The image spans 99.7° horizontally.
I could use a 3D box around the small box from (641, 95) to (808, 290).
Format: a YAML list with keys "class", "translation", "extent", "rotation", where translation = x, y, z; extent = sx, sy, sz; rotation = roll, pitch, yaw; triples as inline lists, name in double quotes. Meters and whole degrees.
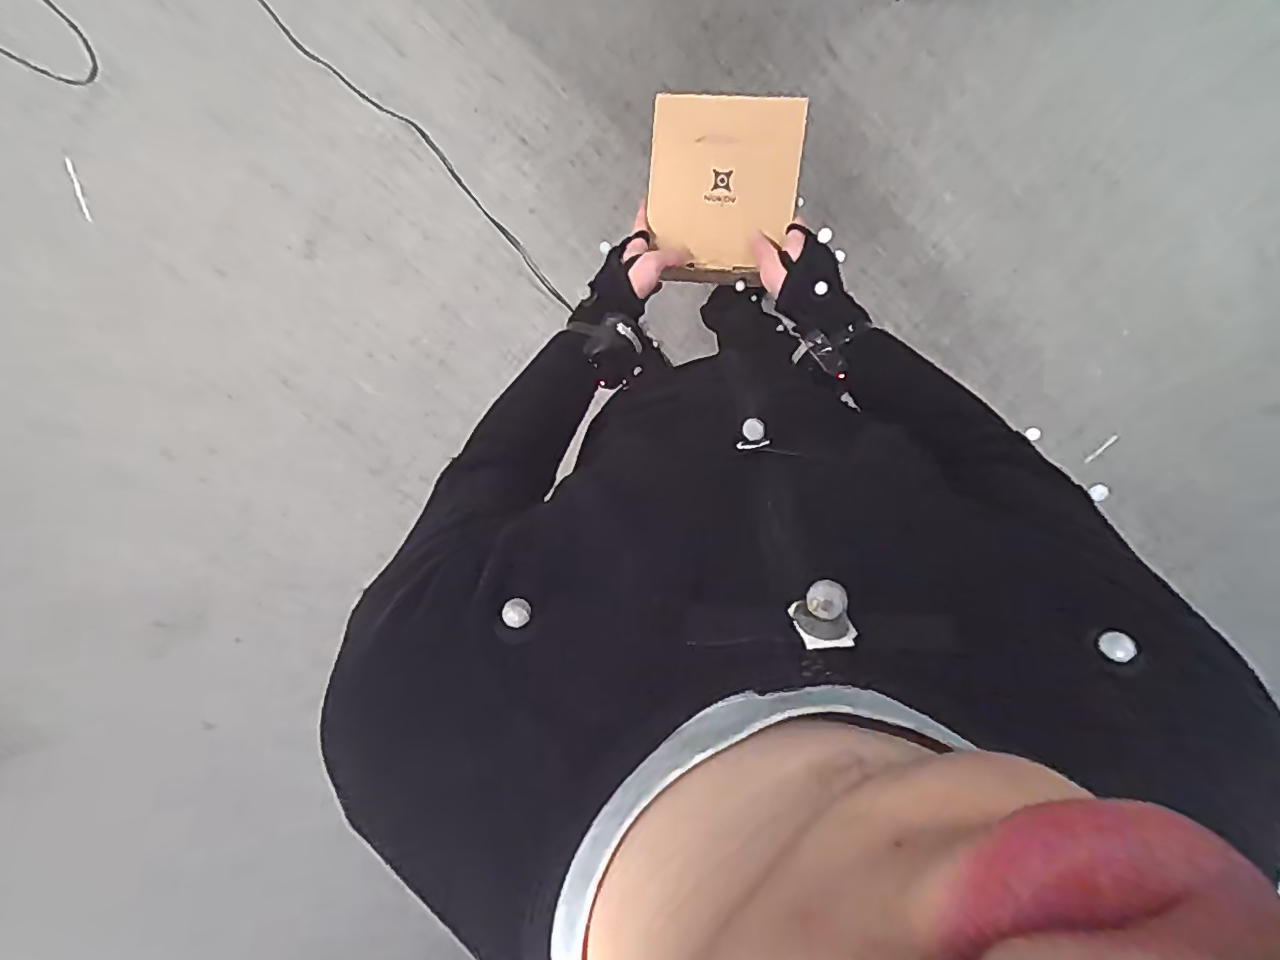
- class: "small box"
  translation: [0.098, -0.336, 0.665]
  extent: [0.168, 0.176, 0.179]
  rotation: [5, 103, 6]
